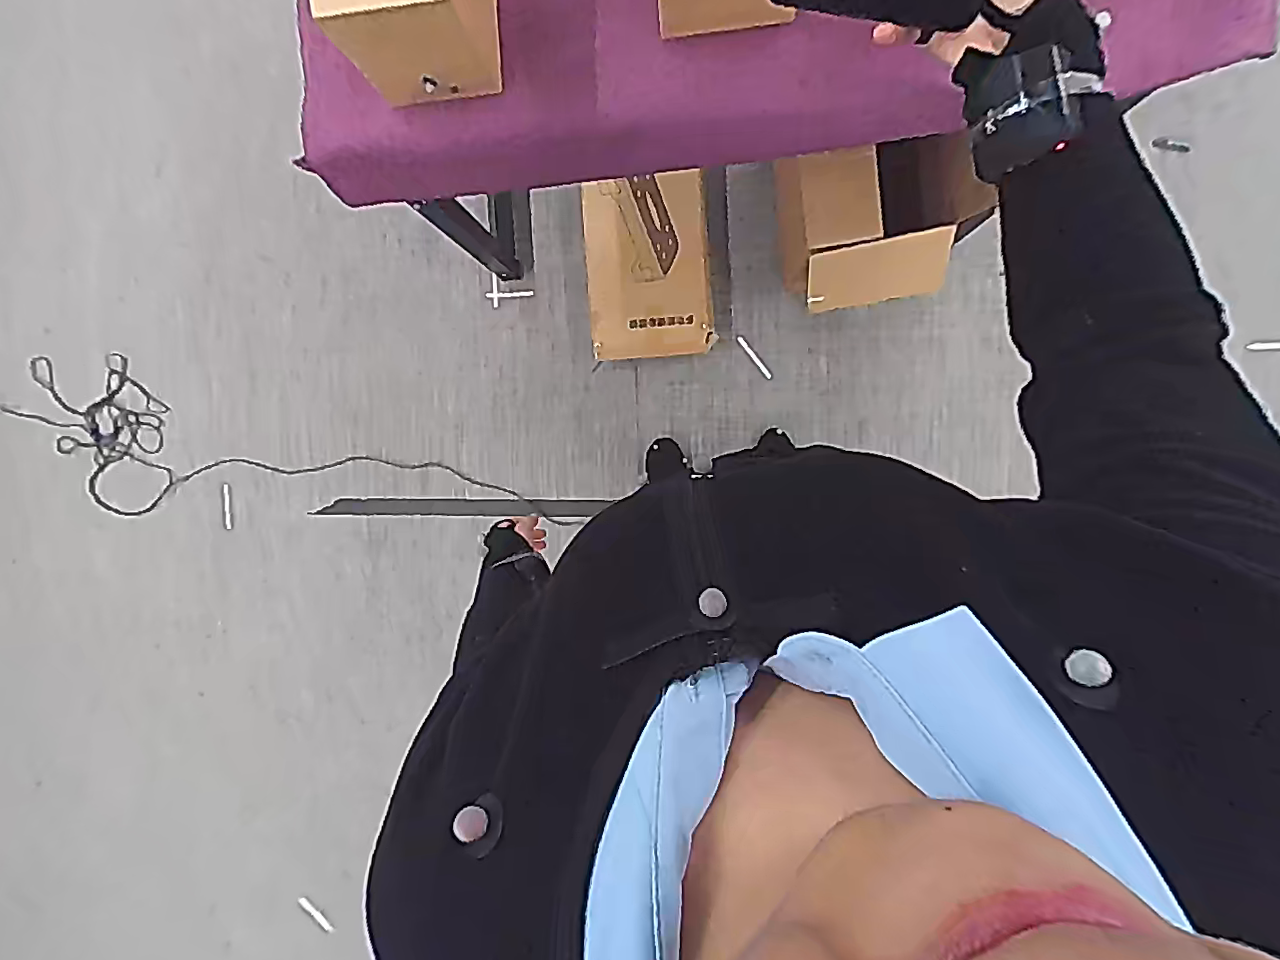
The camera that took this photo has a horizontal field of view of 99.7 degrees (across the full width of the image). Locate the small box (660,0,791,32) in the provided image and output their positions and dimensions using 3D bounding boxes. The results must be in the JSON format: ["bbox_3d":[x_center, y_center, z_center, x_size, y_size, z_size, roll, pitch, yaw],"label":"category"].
[{"bbox_3d":[0.106,-0.671,0.625,0.179,0.176,0.168,-3,92,6],"label":"small box"}]

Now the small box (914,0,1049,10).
[{"bbox_3d":[0.423,-0.664,0.593,0.179,0.176,0.168,4,95,5],"label":"small box"}]
